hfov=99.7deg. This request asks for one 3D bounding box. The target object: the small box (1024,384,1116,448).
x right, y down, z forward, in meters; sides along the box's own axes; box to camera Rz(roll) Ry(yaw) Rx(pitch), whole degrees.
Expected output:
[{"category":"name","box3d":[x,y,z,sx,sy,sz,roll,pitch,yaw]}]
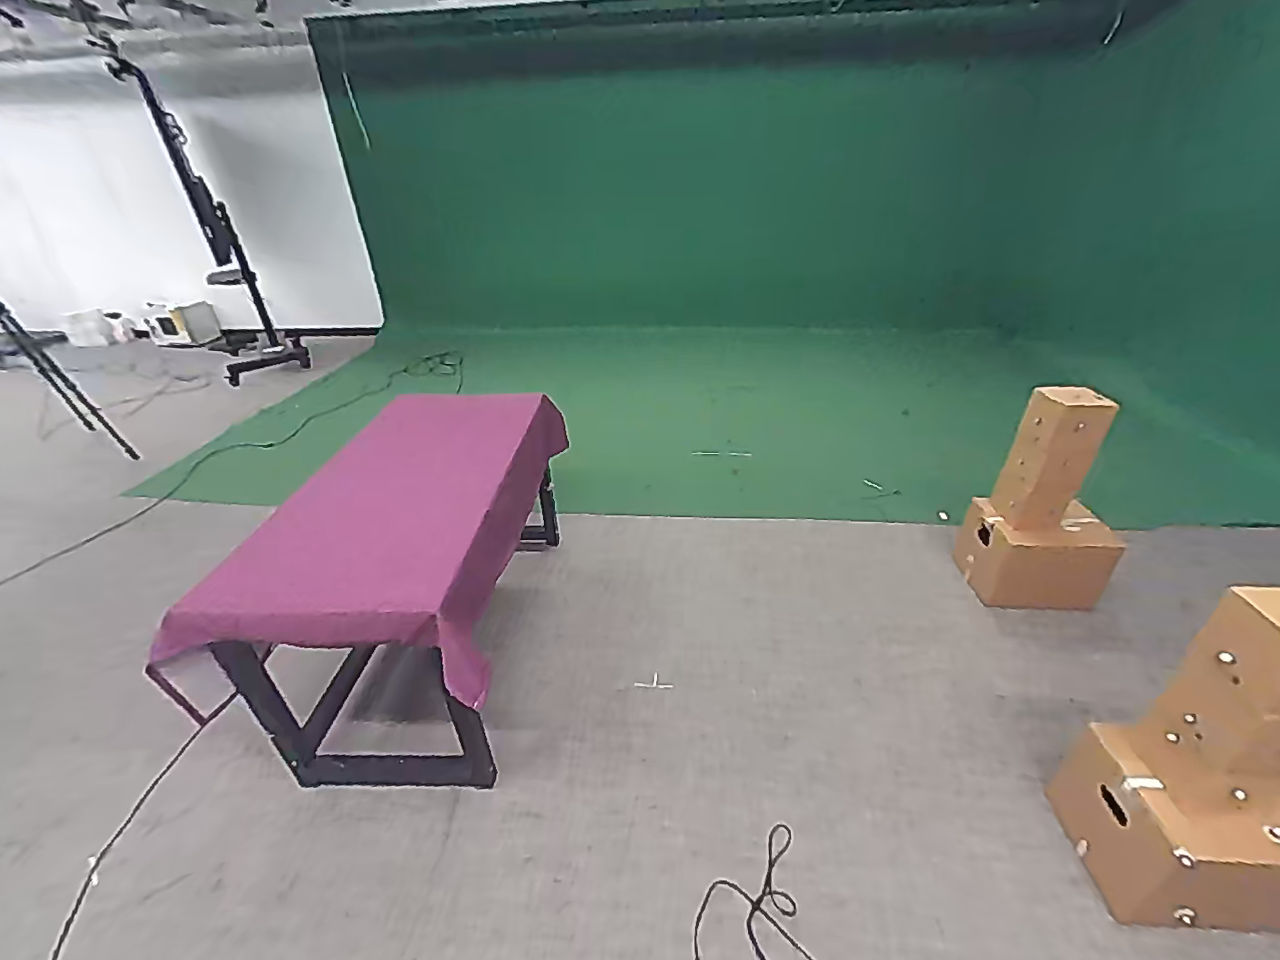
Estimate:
[{"category":"small box","box3d":[1.458,-0.218,1.853,0.179,0.176,0.168,-1,32,1]}]

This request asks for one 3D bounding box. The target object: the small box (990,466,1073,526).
[{"category":"small box","box3d":[1.460,0.060,2.028,0.168,0.176,0.179,1,31,3]}]

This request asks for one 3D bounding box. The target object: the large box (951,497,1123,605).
[{"category":"large box","box3d":[1.534,0.278,2.136,0.408,0.320,0.320,2,32,4]}]

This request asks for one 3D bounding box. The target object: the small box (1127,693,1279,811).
[{"category":"small box","box3d":[1.238,0.594,1.181,0.168,0.176,0.179,0,31,3]}]

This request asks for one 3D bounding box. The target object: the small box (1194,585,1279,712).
[{"category":"small box","box3d":[1.215,0.316,1.006,0.179,0.176,0.168,0,31,7]}]

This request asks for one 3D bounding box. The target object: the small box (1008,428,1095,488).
[{"category":"small box","box3d":[1.463,-0.079,1.941,0.179,0.176,0.168,-1,32,-1]}]
